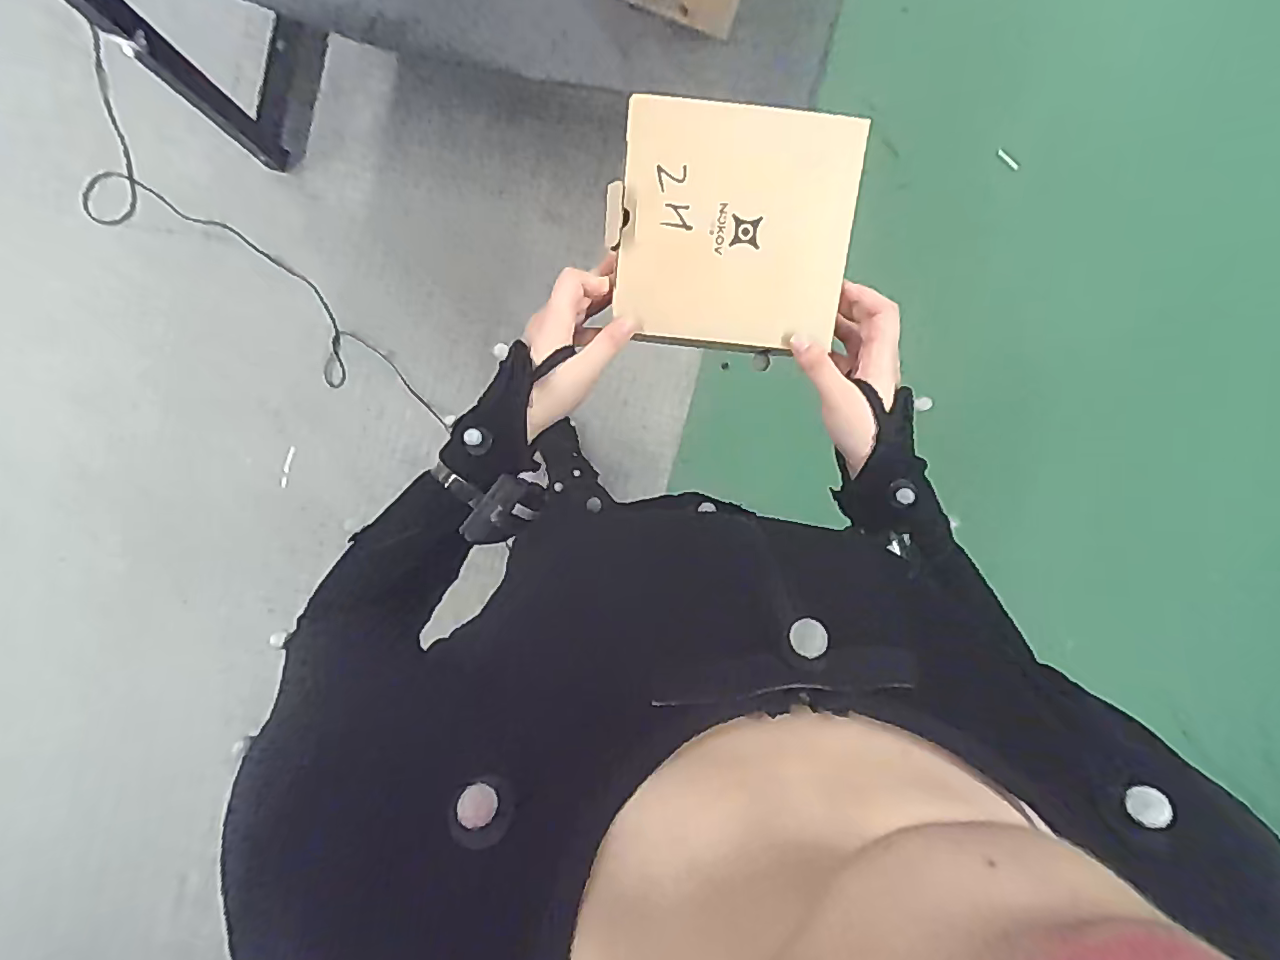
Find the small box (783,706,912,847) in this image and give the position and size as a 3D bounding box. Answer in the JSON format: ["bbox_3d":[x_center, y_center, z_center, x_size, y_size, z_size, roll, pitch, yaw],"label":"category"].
[{"bbox_3d":[0.410,0.589,1.098,0.168,0.176,0.179,17,91,-3],"label":"small box"}]

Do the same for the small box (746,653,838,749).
[{"bbox_3d":[0.391,0.587,1.426,0.168,0.176,0.179,18,91,-3],"label":"small box"}]

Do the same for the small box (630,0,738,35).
[{"bbox_3d":[0.067,-0.687,0.627,0.168,0.176,0.179,20,90,-2],"label":"small box"}]

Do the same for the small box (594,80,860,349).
[{"bbox_3d":[0.061,-0.207,0.470,0.179,0.176,0.168,6,102,0],"label":"small box"}]
